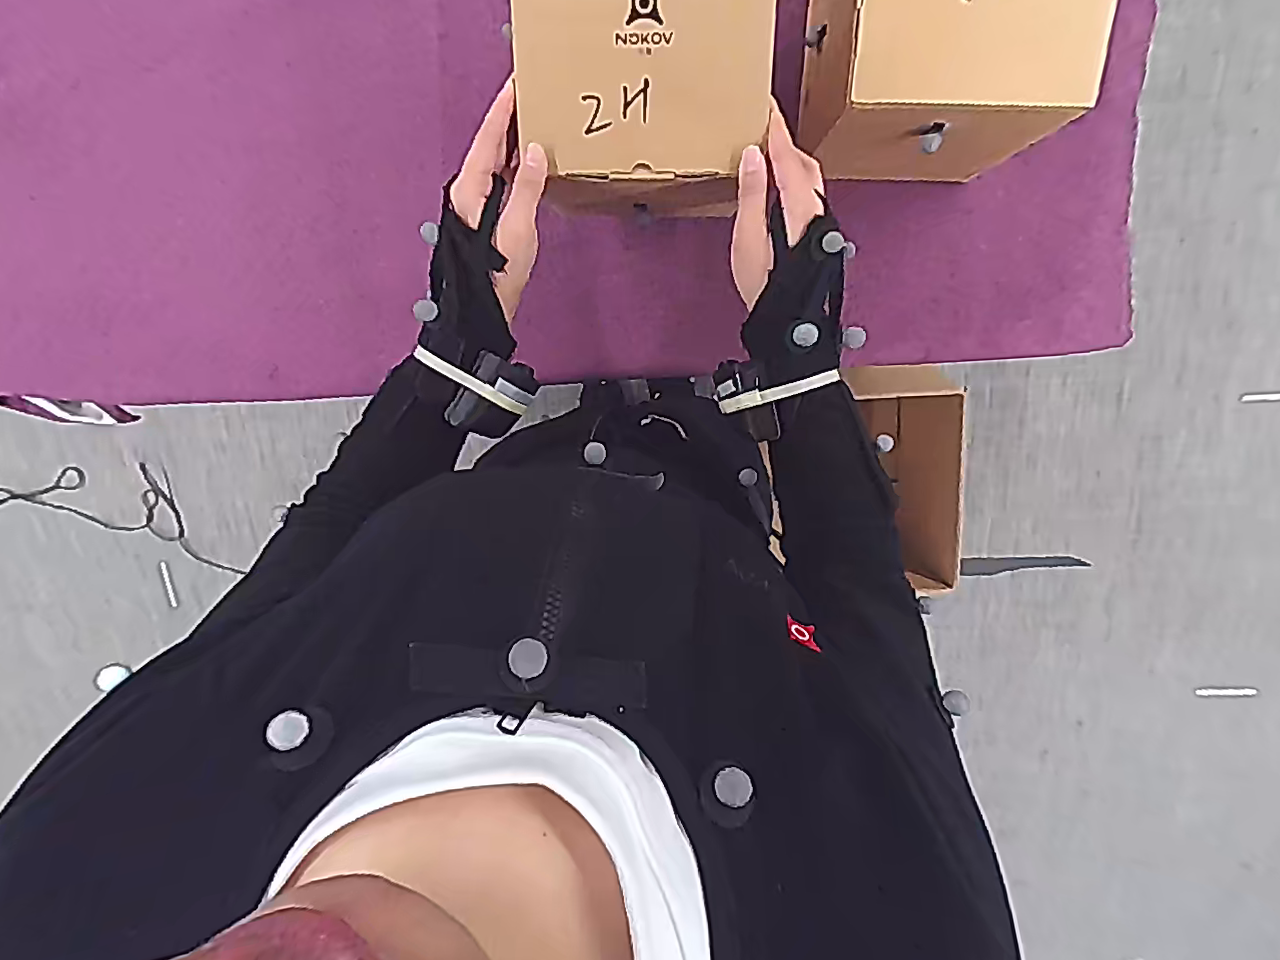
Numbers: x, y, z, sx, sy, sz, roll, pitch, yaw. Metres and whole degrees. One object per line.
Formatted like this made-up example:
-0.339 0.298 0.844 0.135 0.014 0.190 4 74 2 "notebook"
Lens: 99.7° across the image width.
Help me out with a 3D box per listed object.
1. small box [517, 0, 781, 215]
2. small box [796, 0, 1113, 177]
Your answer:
0.007 -0.313 0.411 0.168 0.176 0.179 1 108 2 "small box"
0.245 -0.368 0.448 0.179 0.176 0.168 3 103 2 "small box"
